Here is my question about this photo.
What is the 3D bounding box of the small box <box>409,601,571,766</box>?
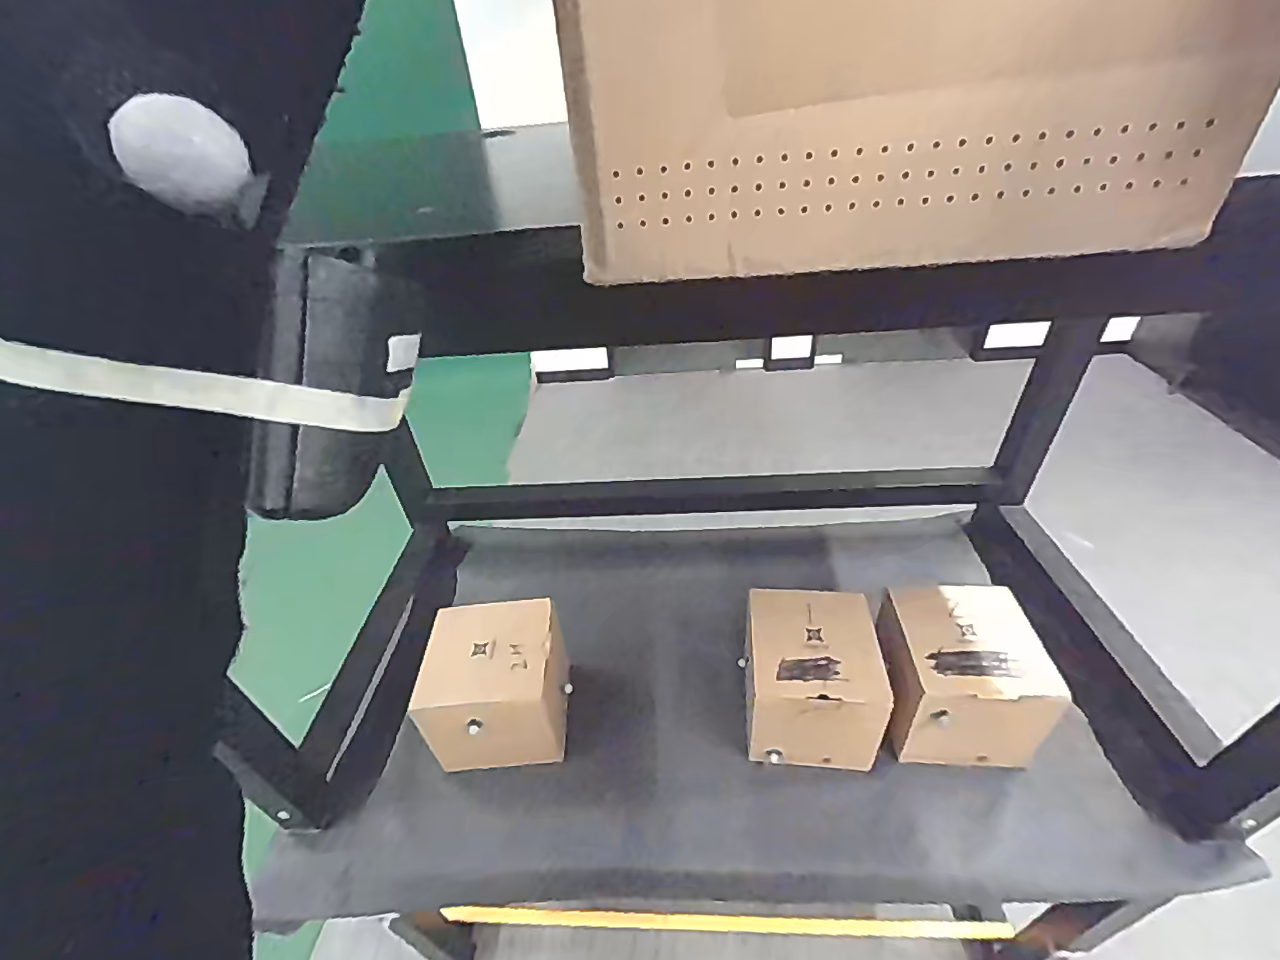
[{"bbox_3d":[-0.206,0.302,0.800,0.179,0.176,0.168,-4,37,1],"label":"small box"}]
